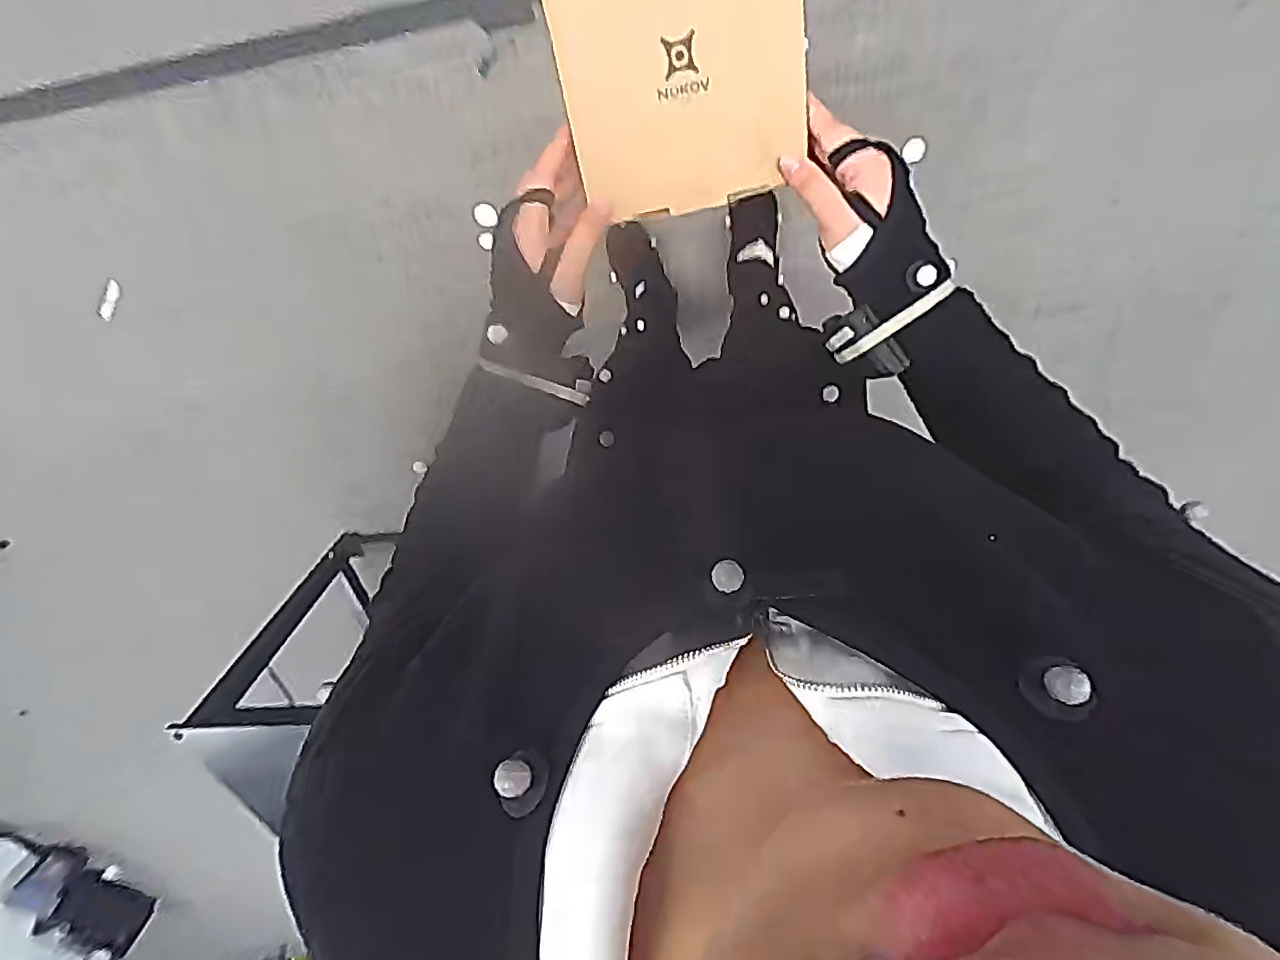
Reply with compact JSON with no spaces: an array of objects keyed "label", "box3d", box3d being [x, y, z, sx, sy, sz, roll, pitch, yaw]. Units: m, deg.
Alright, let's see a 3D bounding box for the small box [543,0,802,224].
[{"label":"small box","box3d":[0.025,-0.326,0.432,0.168,0.176,0.179,-11,123,4]}]
